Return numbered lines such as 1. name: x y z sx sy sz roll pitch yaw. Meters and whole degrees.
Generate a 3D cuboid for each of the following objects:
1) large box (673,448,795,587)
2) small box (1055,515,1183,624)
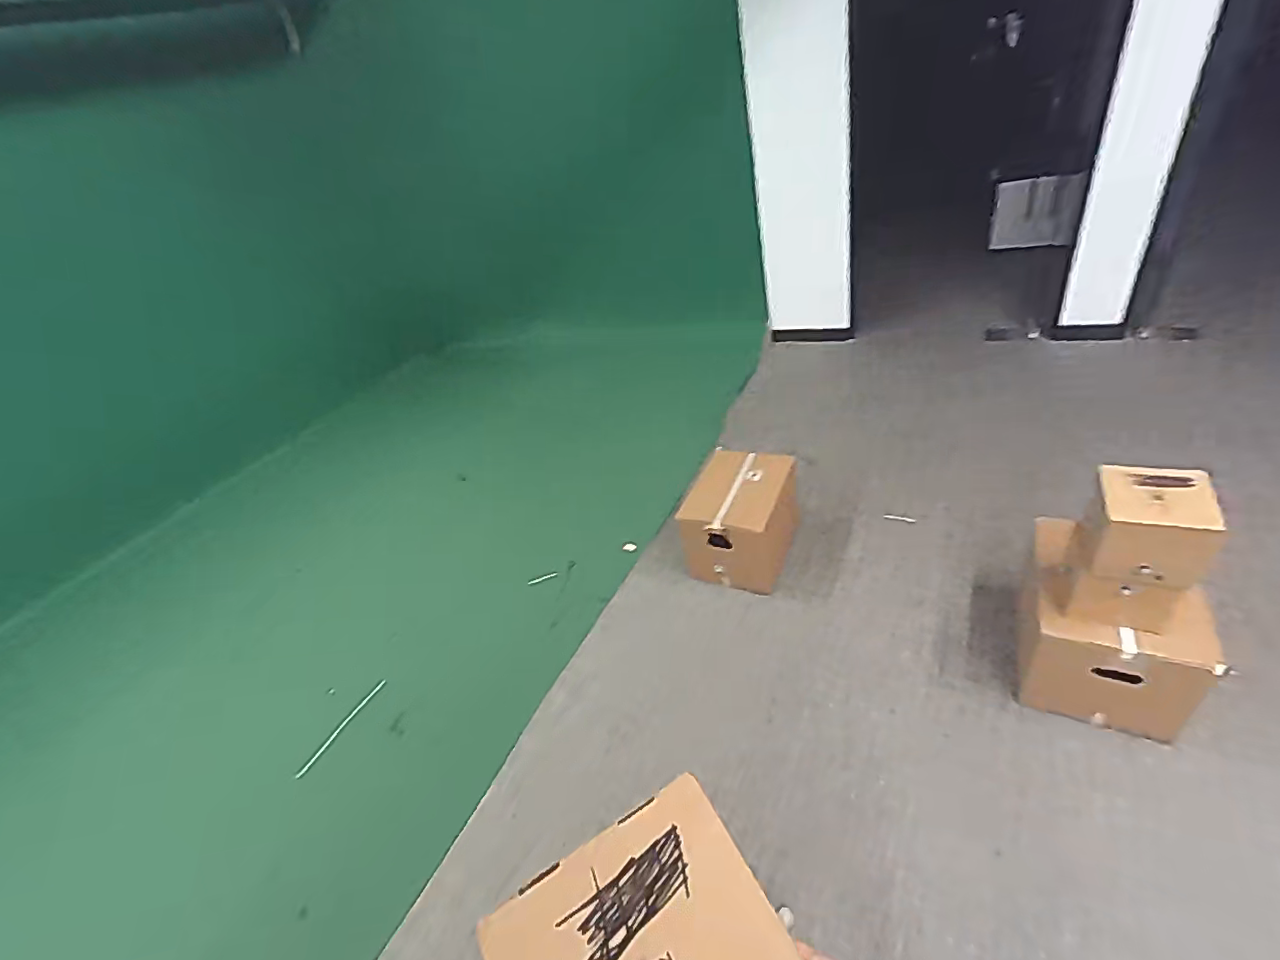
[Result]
1. large box: 0.363 0.128 1.993 0.320 0.320 0.408 8 42 29
2. small box: 1.071 0.203 1.226 0.179 0.176 0.168 5 42 29
